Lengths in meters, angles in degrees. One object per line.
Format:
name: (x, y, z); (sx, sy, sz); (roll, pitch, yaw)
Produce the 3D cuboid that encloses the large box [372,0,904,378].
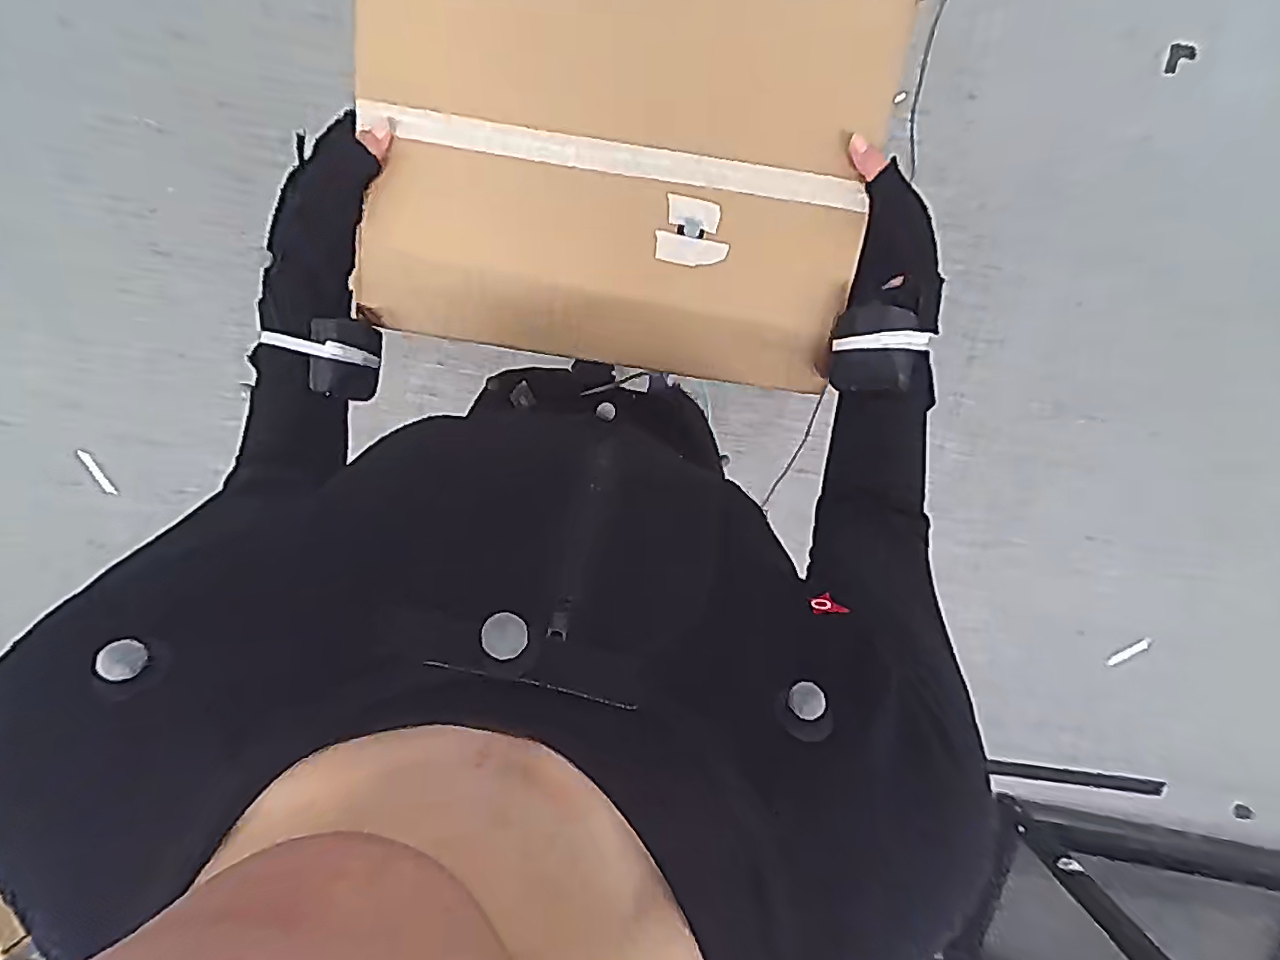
large box: (-0.018, -0.303, 0.580); (0.408, 0.320, 0.320); (8, 107, -3)
